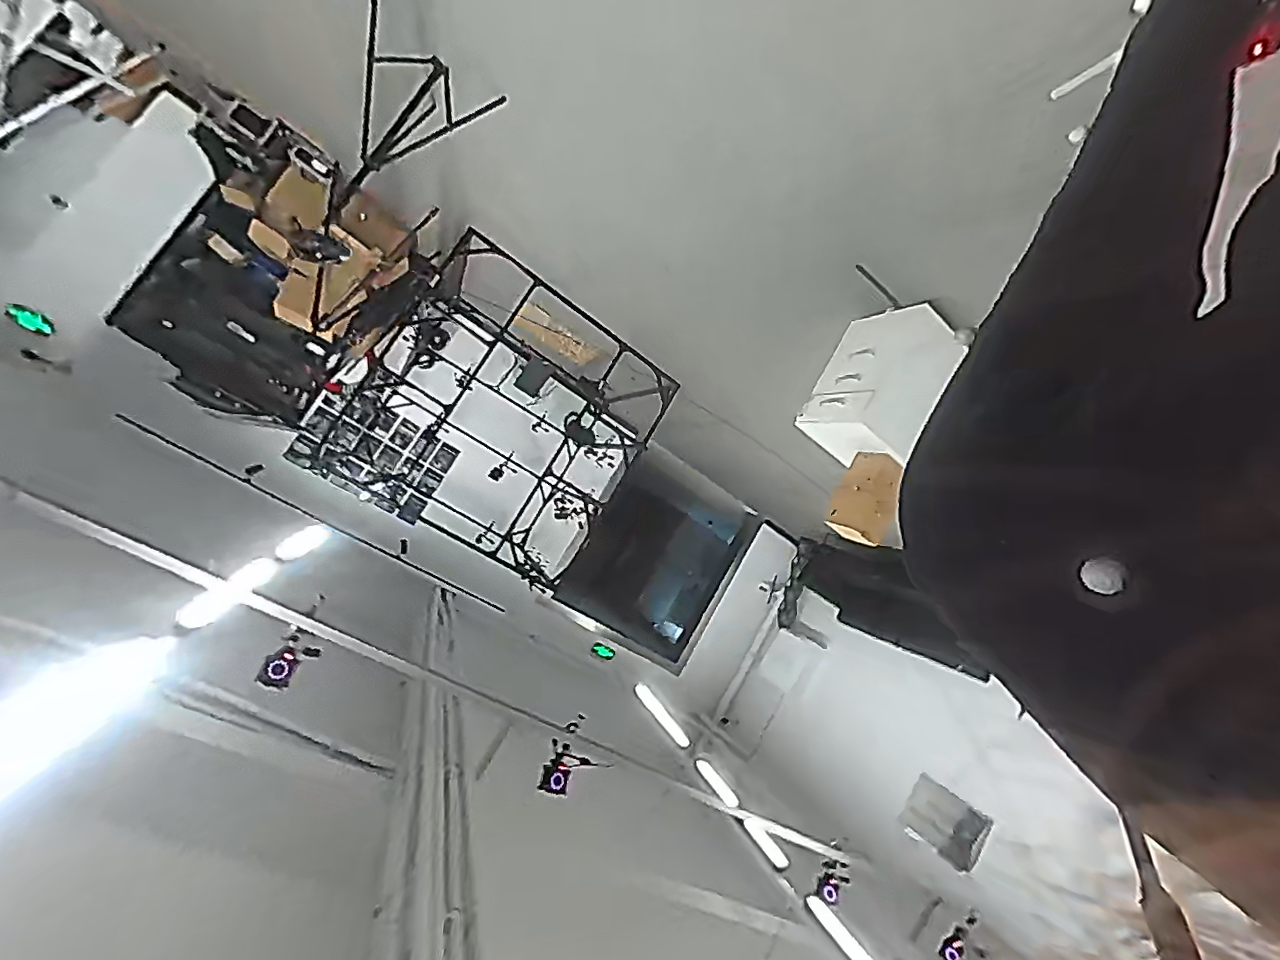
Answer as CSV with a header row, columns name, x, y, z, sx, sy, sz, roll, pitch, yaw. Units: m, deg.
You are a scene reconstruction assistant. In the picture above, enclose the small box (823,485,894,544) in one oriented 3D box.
name,x,y,z,sx,sy,sz,roll,pitch,yaw
small box,0.896,0.135,2.214,0.168,0.176,0.179,32,174,-24
